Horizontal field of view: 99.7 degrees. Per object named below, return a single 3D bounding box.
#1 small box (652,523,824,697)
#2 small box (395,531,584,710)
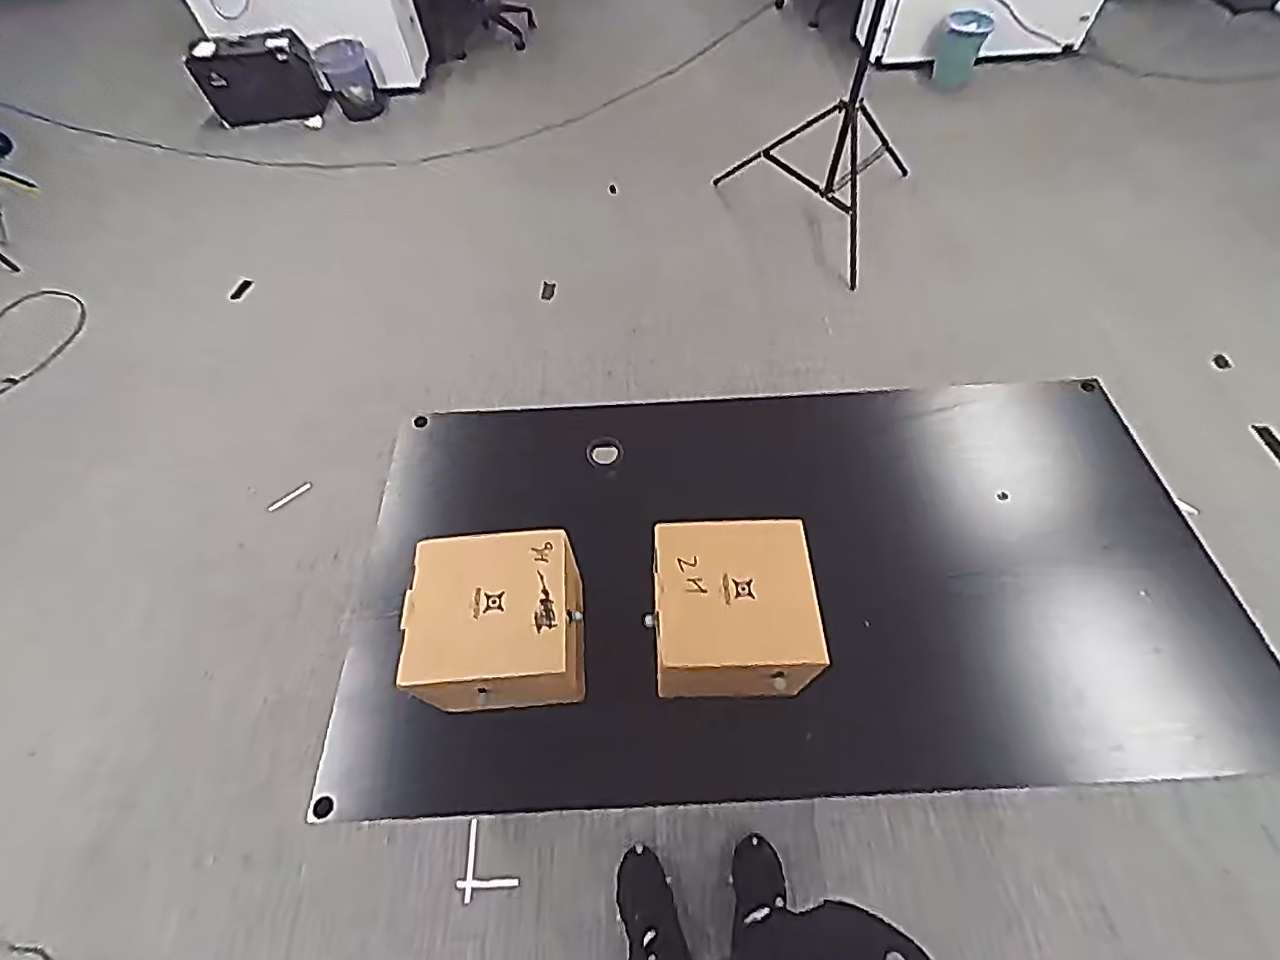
[{"bbox_3d":[0.104,0.163,0.662,0.179,0.176,0.168,-2,58,1],"label":"small box"},{"bbox_3d":[-0.168,0.178,0.664,0.179,0.176,0.168,-5,58,-1],"label":"small box"}]
